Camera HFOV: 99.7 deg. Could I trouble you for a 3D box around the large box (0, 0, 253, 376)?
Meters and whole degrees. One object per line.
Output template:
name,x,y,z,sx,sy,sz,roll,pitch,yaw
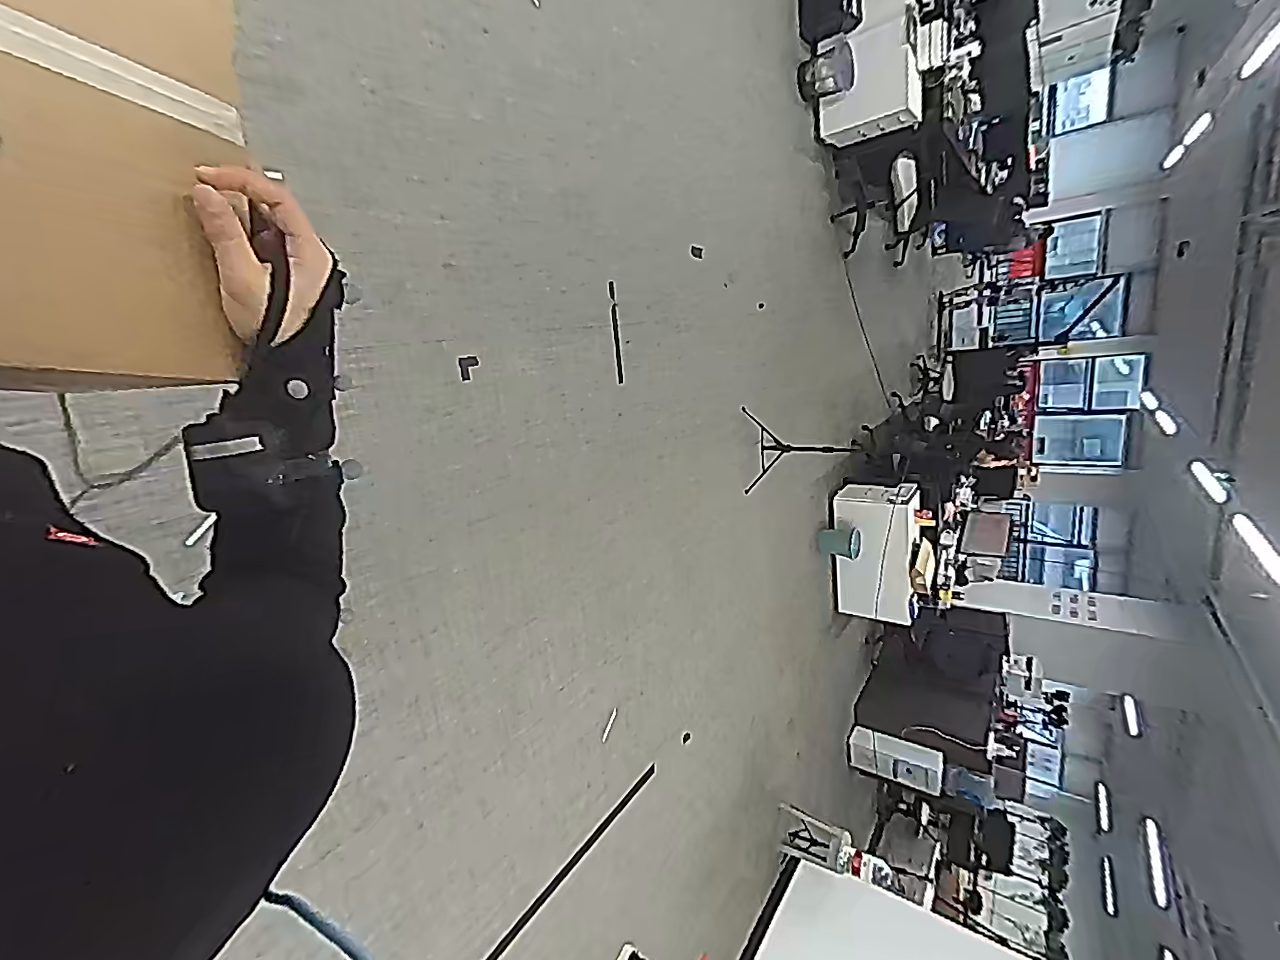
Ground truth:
large box,-0.488,-0.220,0.249,0.408,0.320,0.320,-10,103,-60
